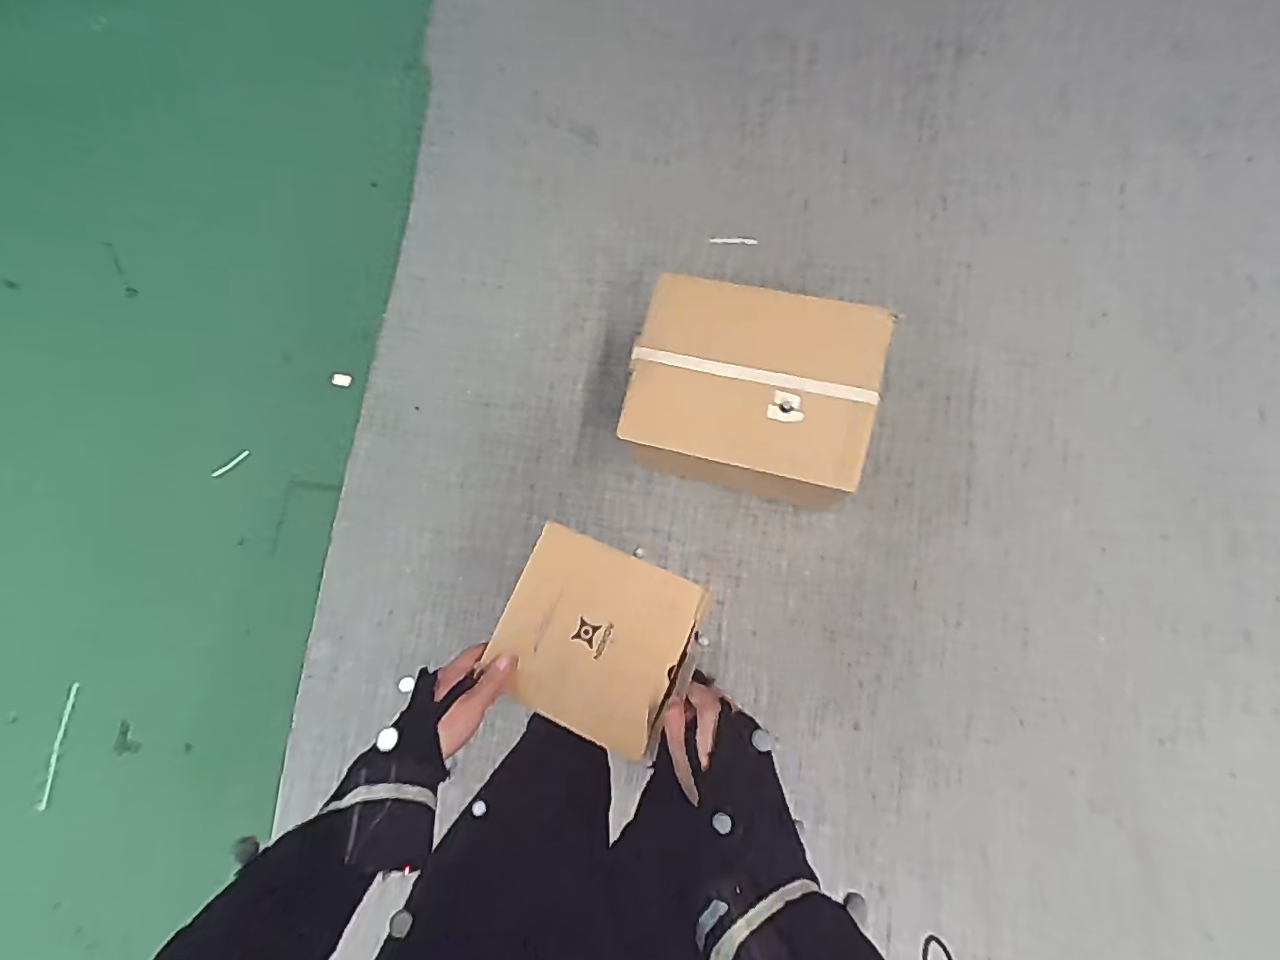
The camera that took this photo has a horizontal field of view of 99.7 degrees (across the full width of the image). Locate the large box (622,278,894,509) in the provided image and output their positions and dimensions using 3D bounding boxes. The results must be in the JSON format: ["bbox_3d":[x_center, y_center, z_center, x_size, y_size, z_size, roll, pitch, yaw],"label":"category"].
[{"bbox_3d":[0.213,-0.149,1.050,0.408,0.320,0.320,14,84,11],"label":"large box"}]

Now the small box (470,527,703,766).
[{"bbox_3d":[-0.039,0.169,0.575,0.179,0.176,0.168,19,76,14],"label":"small box"}]
